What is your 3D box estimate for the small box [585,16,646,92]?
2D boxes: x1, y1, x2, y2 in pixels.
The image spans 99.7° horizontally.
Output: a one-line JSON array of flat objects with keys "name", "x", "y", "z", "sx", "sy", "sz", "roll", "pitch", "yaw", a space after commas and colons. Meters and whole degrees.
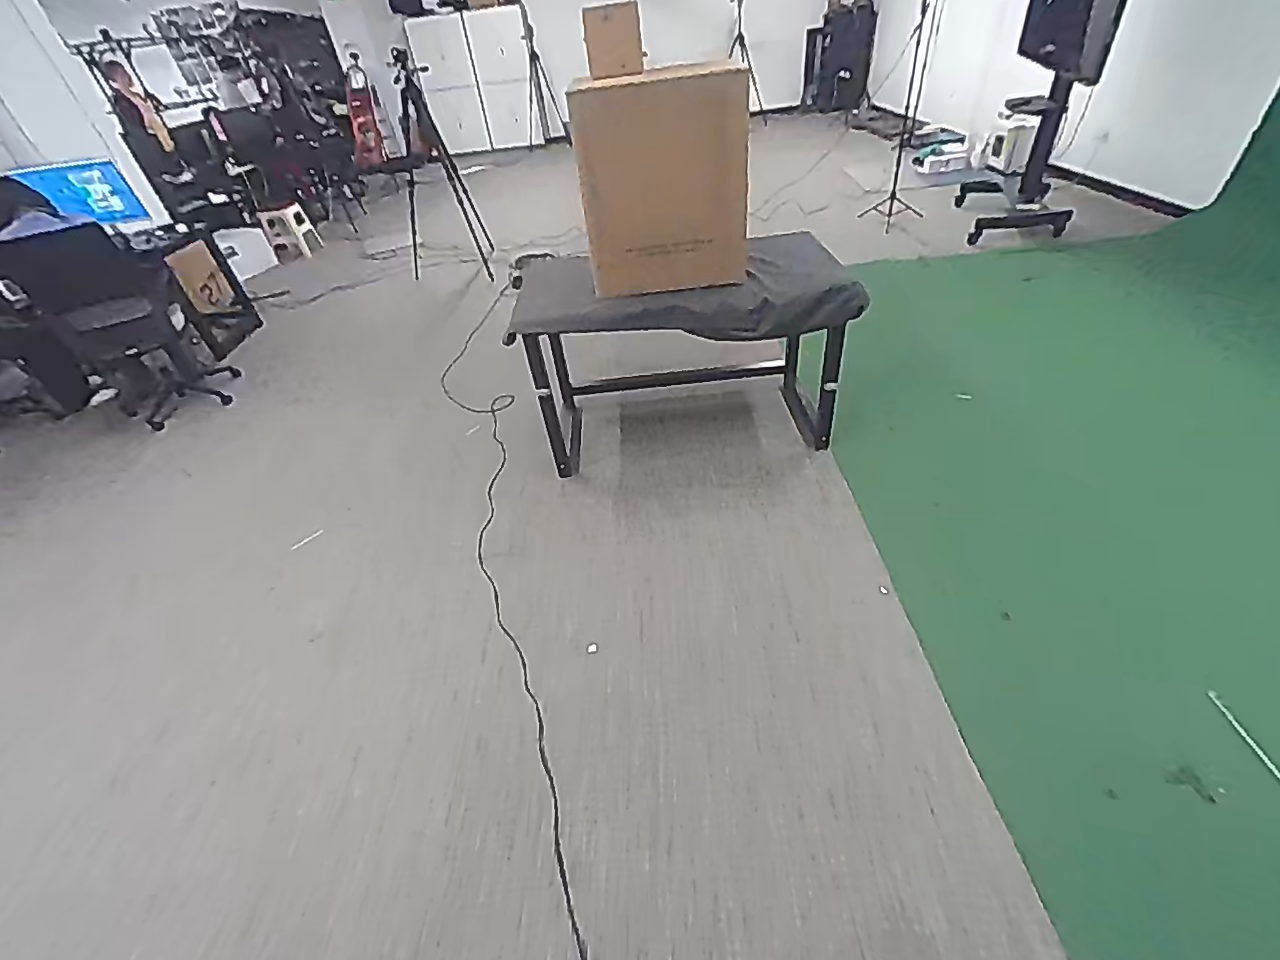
[{"name": "small box", "x": -0.073, "y": -1.317, "z": 1.680, "sx": 0.168, "sy": 0.176, "sz": 0.179, "roll": -6, "pitch": 38, "yaw": 4}]
